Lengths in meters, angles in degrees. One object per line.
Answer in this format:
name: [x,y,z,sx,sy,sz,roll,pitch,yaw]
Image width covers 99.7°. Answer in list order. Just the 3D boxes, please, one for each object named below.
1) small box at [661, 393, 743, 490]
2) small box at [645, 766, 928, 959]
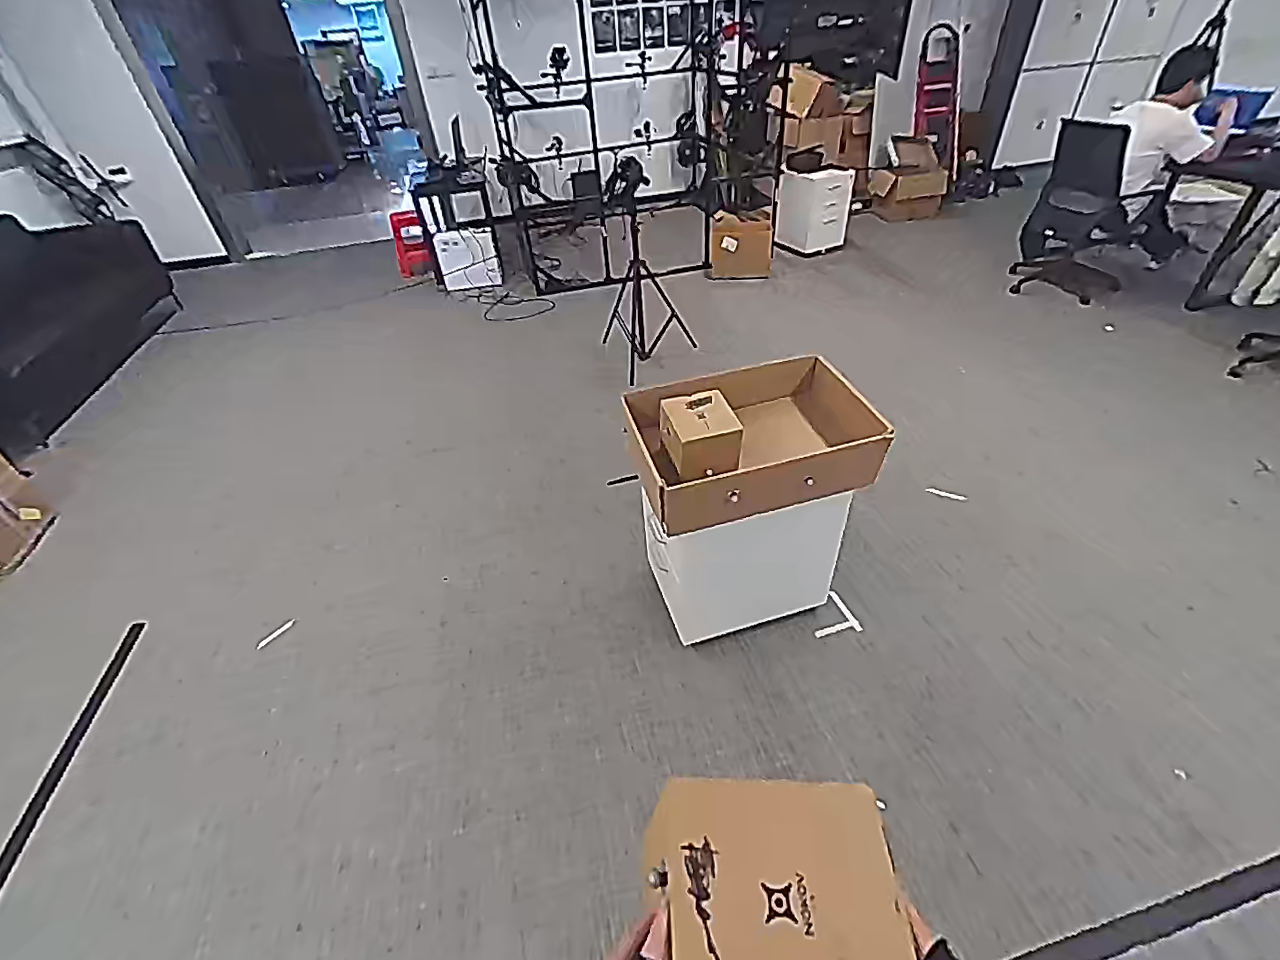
small box: [0.156,-0.102,1.433,0.168,0.176,0.179,-13,46,-10]
small box: [0.102,0.355,0.443,0.179,0.176,0.168,5,43,-5]
